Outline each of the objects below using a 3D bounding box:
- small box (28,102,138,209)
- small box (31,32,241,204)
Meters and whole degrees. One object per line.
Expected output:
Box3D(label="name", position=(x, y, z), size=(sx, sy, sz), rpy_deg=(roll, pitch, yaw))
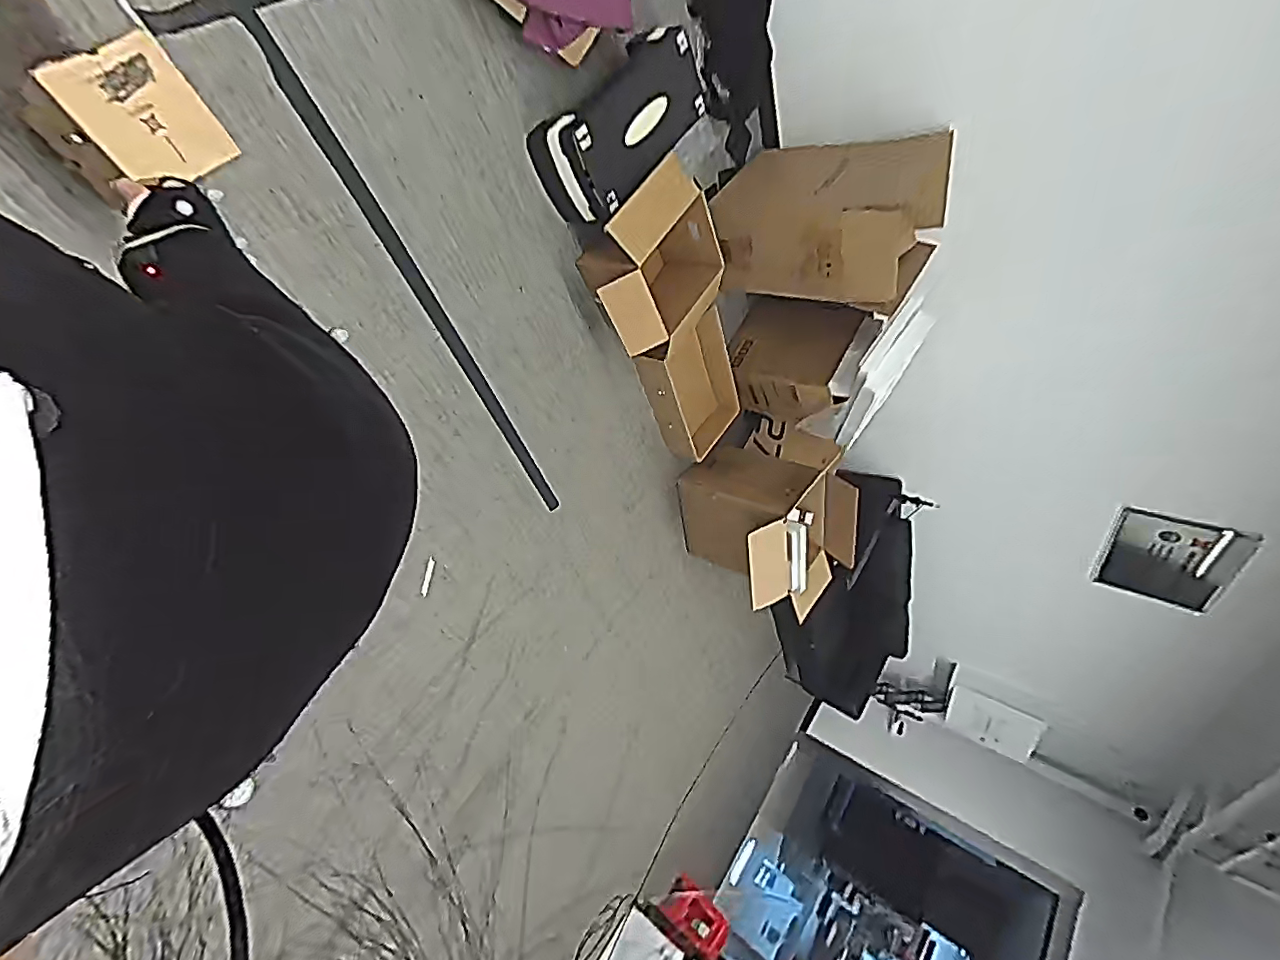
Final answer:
Box3D(label="small box", position=(-0.927, -0.609, 0.972), size=(0.179, 0.176, 0.168), rpy_deg=(-51, 139, -24))
Box3D(label="small box", position=(-0.806, -0.567, 0.867), size=(0.168, 0.176, 0.179), rpy_deg=(-51, 140, -24))
